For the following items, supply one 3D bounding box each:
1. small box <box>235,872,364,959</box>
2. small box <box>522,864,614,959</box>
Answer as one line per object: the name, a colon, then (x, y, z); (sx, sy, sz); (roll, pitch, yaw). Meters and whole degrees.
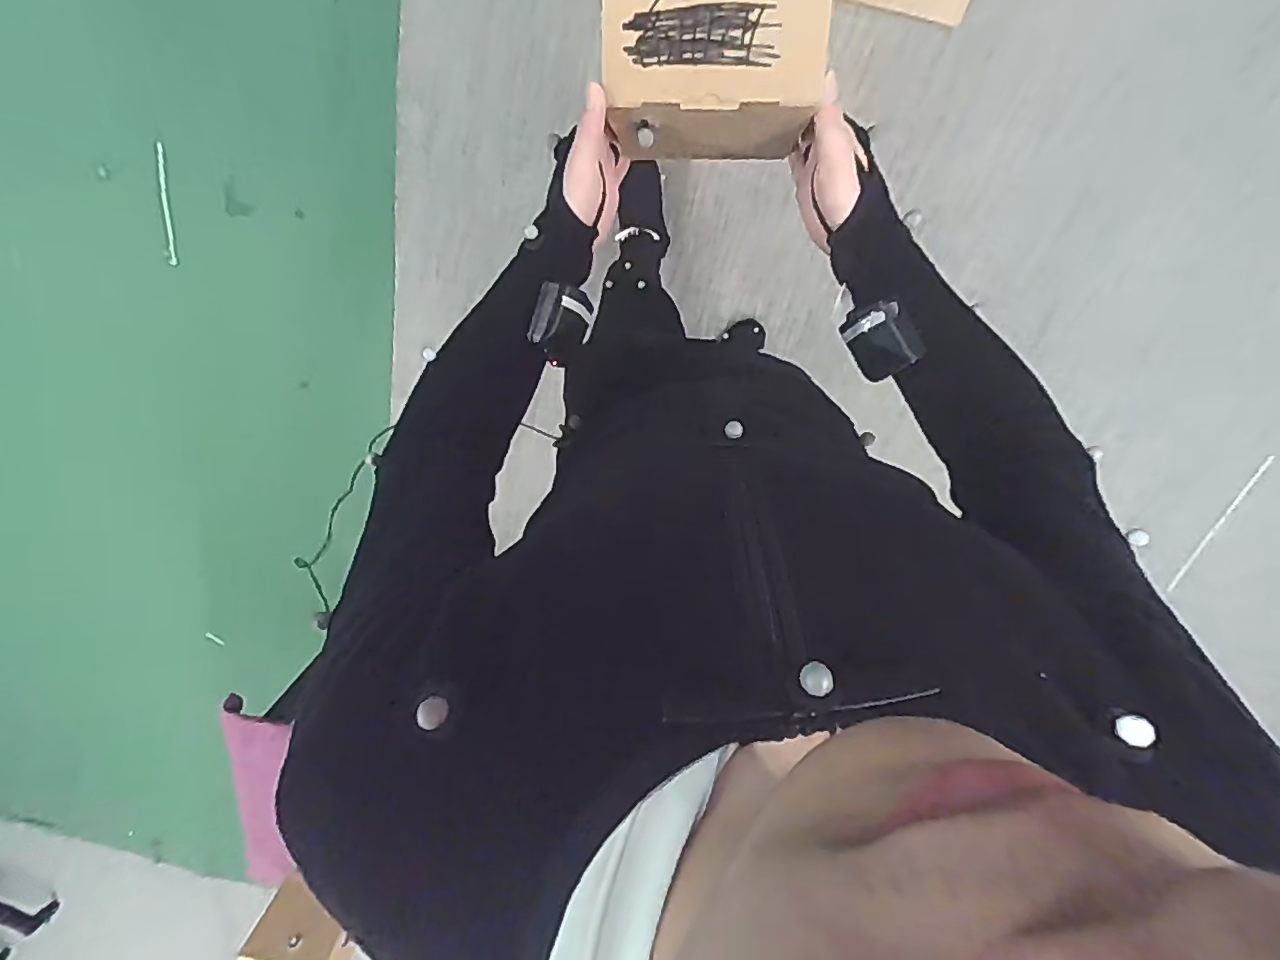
small box: (-0.723, 0.991, 1.166); (0.179, 0.176, 0.168); (14, 114, 0)
small box: (-0.173, 1.084, 1.323); (0.179, 0.176, 0.168); (14, 115, 1)
